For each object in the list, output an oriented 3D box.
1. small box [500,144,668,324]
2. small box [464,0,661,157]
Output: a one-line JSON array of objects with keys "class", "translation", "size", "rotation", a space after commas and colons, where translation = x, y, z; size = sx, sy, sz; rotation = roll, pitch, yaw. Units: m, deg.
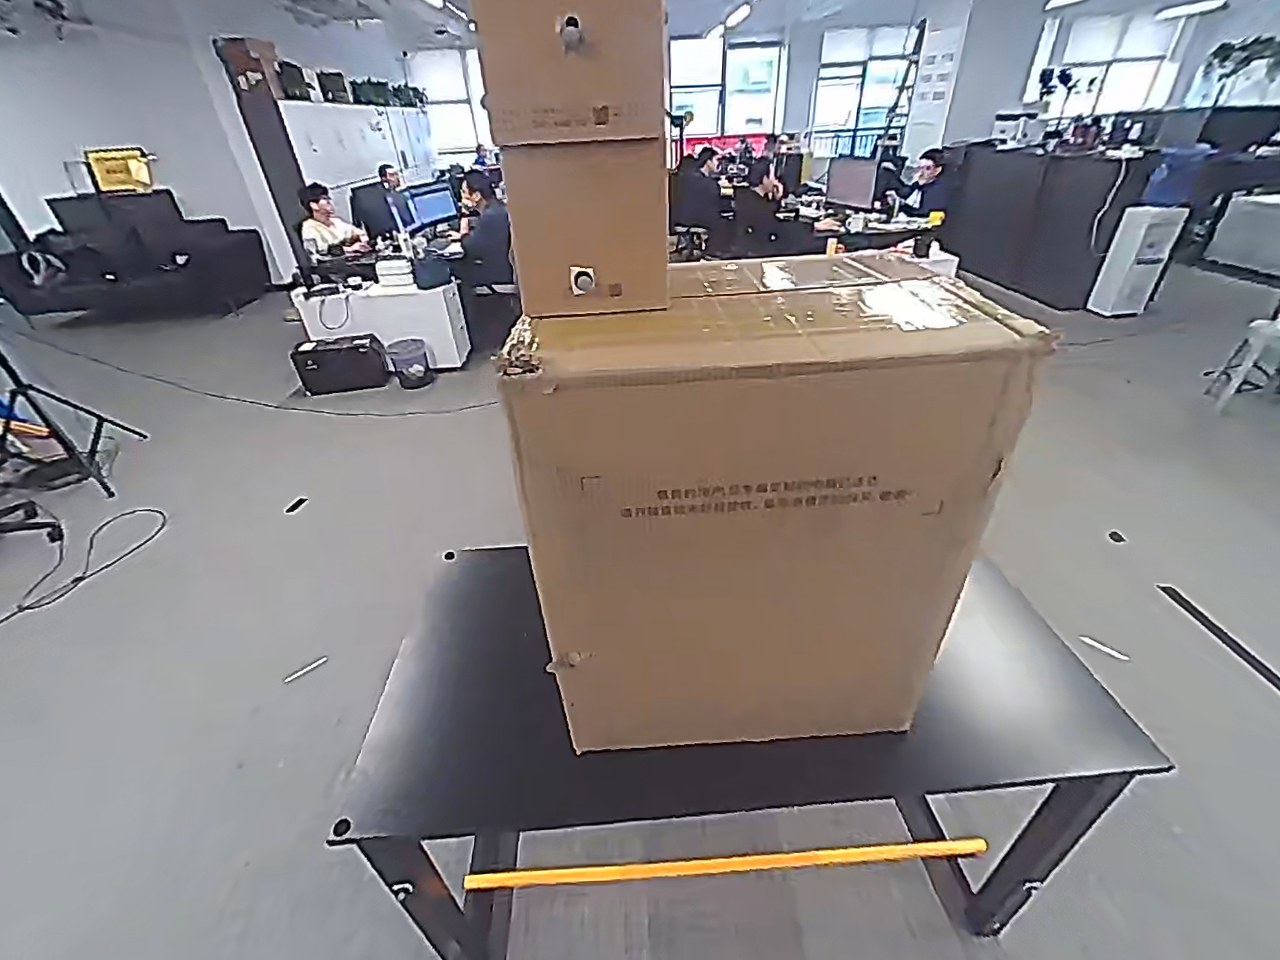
[{"class": "small box", "translation": [-0.061, -0.294, 0.640], "size": [0.168, 0.176, 0.179], "rotation": [-7, 34, -4]}, {"class": "small box", "translation": [-0.071, -0.423, 0.538], "size": [0.168, 0.176, 0.179], "rotation": [-5, 33, -3]}]
